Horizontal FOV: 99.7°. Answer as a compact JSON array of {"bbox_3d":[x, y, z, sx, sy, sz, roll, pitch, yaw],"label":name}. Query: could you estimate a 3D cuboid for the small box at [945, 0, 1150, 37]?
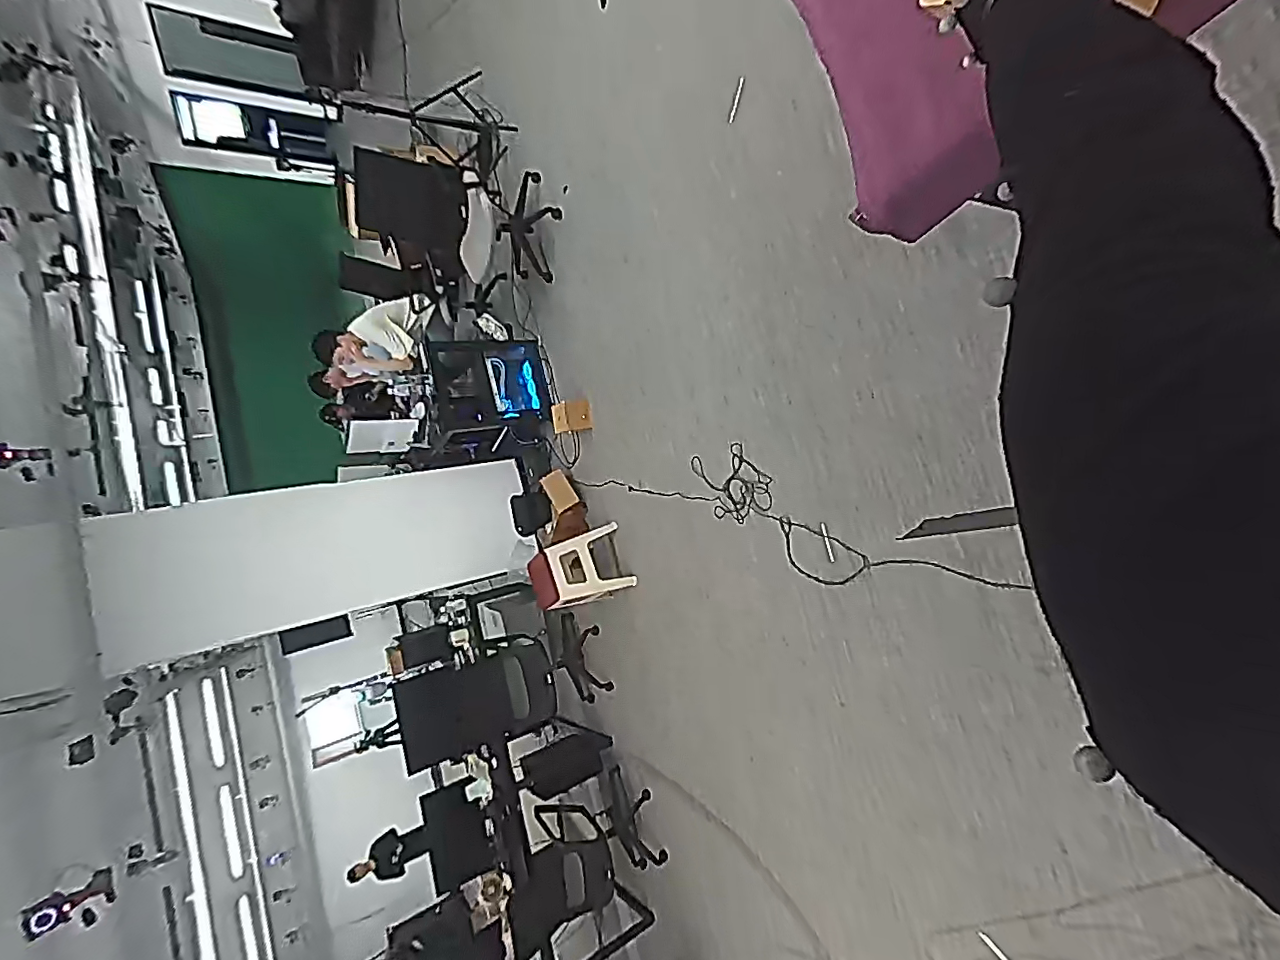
[{"bbox_3d":[0.422,-0.564,0.526,0.168,0.176,0.179,43,135,40],"label":"small box"}]
